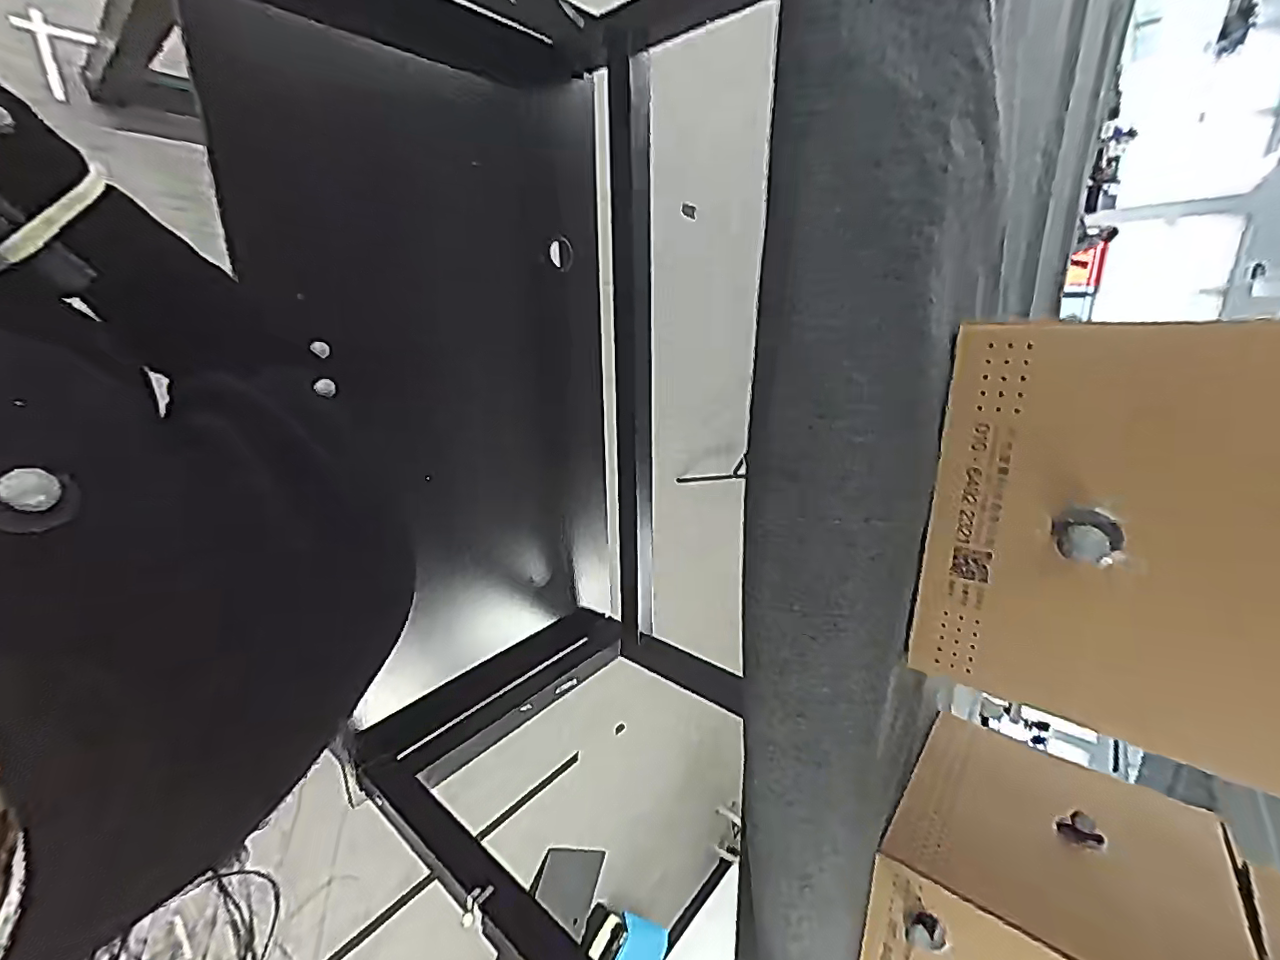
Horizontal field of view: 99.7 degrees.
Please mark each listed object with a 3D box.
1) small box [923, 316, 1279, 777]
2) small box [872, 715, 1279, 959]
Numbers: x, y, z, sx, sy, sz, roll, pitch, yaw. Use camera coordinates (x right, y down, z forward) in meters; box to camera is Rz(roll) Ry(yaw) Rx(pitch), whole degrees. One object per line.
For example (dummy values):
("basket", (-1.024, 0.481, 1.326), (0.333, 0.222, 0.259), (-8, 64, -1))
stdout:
("small box", (0.257, 0.008, 0.265), (0.179, 0.176, 0.168), (-19, 114, -49))
("small box", (0.262, 0.294, 0.354), (0.179, 0.176, 0.168), (-15, 111, -50))
